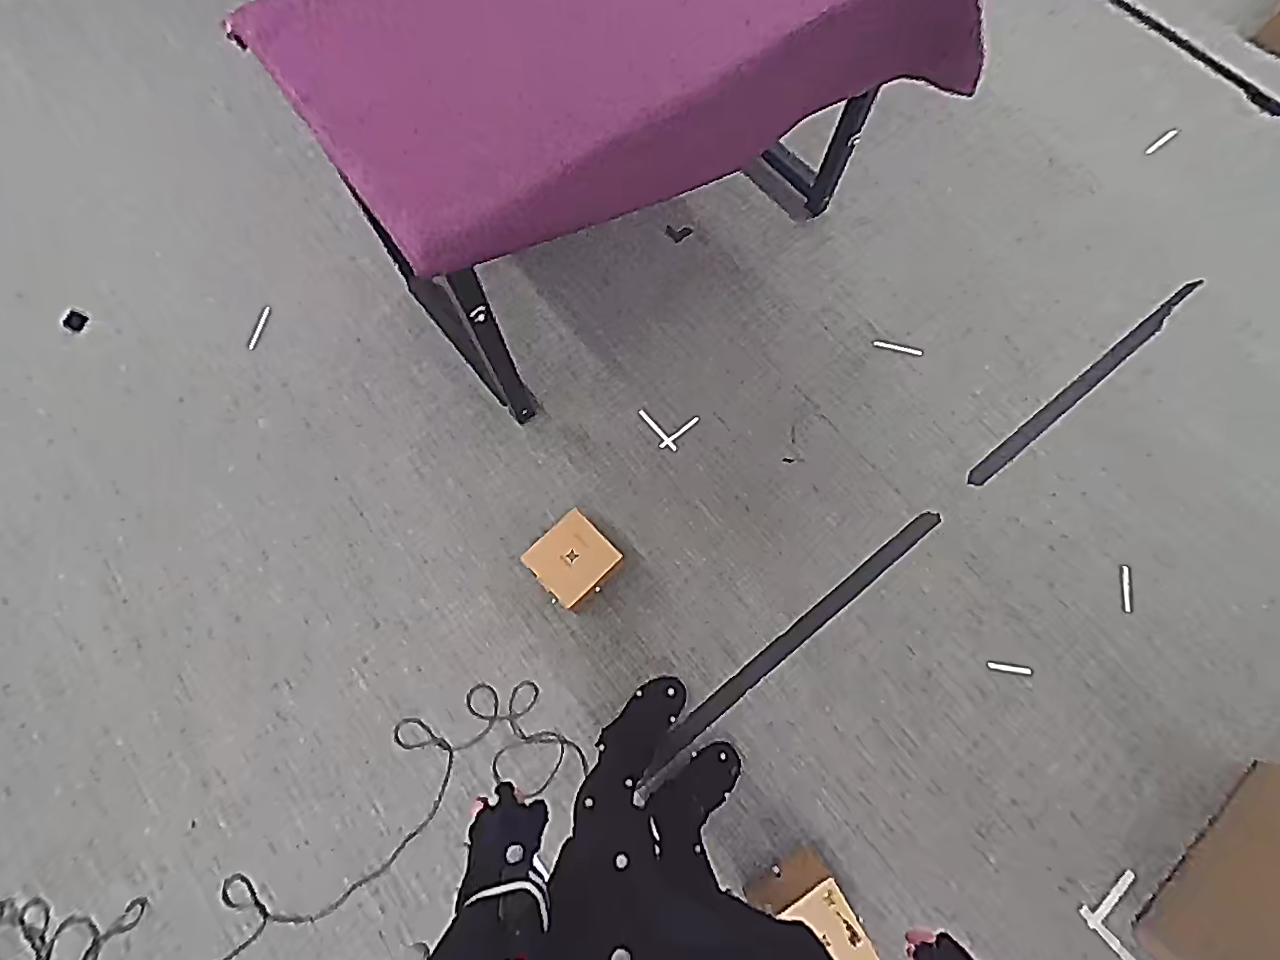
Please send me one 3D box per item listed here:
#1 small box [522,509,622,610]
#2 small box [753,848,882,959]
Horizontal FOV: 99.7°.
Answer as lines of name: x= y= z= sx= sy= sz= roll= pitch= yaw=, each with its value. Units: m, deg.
small box: x=-0.156 y=0.201 z=1.319 sx=0.168 sy=0.176 sz=0.179 roll=44 pitch=77 yaw=10
small box: x=0.351 y=0.911 z=1.115 sx=0.179 sy=0.176 sz=0.168 roll=-29 pitch=76 yaw=-8
